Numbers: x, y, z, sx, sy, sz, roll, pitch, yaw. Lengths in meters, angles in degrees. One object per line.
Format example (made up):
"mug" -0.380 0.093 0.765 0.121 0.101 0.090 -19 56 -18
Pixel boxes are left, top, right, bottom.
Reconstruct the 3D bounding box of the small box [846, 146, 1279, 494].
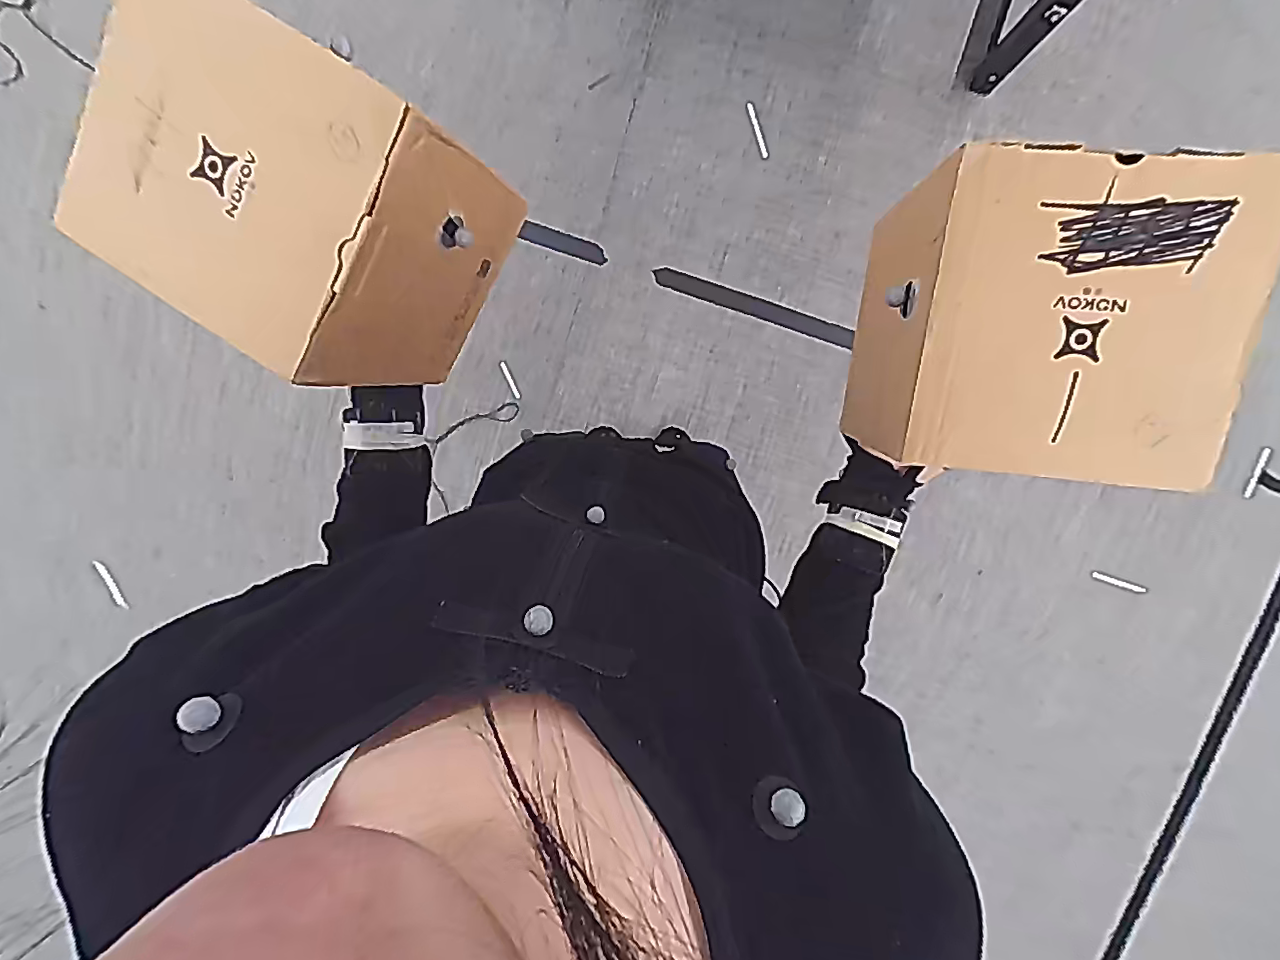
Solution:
"small box" 0.257 -0.102 0.379 0.168 0.176 0.179 7 103 6

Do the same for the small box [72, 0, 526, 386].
"small box" -0.207 -0.181 0.374 0.179 0.176 0.168 33 103 3
